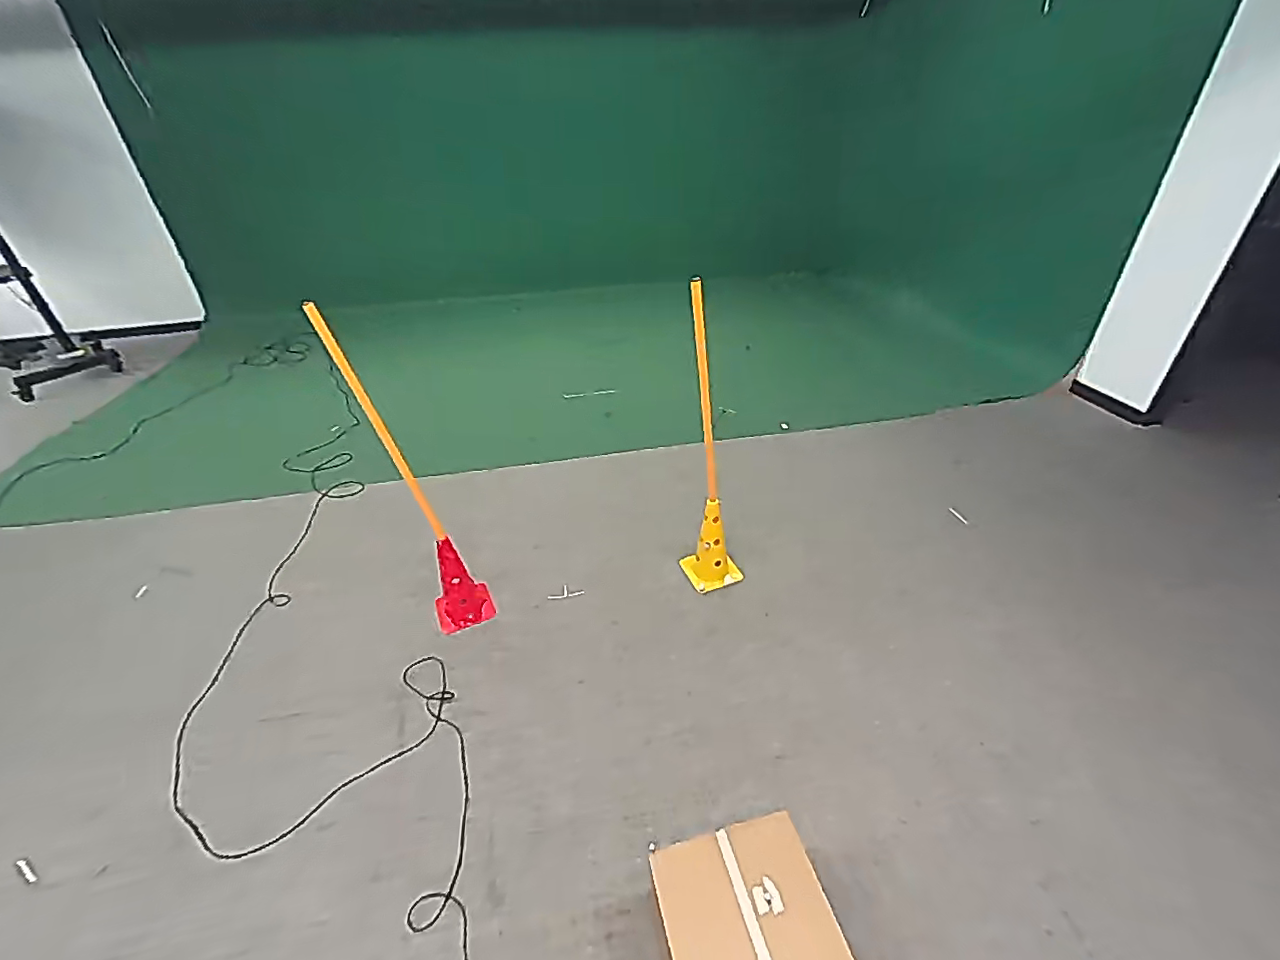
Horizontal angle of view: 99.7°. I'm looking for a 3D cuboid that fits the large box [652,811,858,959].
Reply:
[{"bbox_3d":[0.231,0.966,1.054,0.320,0.320,0.408,-10,33,-10],"label":"large box"}]
